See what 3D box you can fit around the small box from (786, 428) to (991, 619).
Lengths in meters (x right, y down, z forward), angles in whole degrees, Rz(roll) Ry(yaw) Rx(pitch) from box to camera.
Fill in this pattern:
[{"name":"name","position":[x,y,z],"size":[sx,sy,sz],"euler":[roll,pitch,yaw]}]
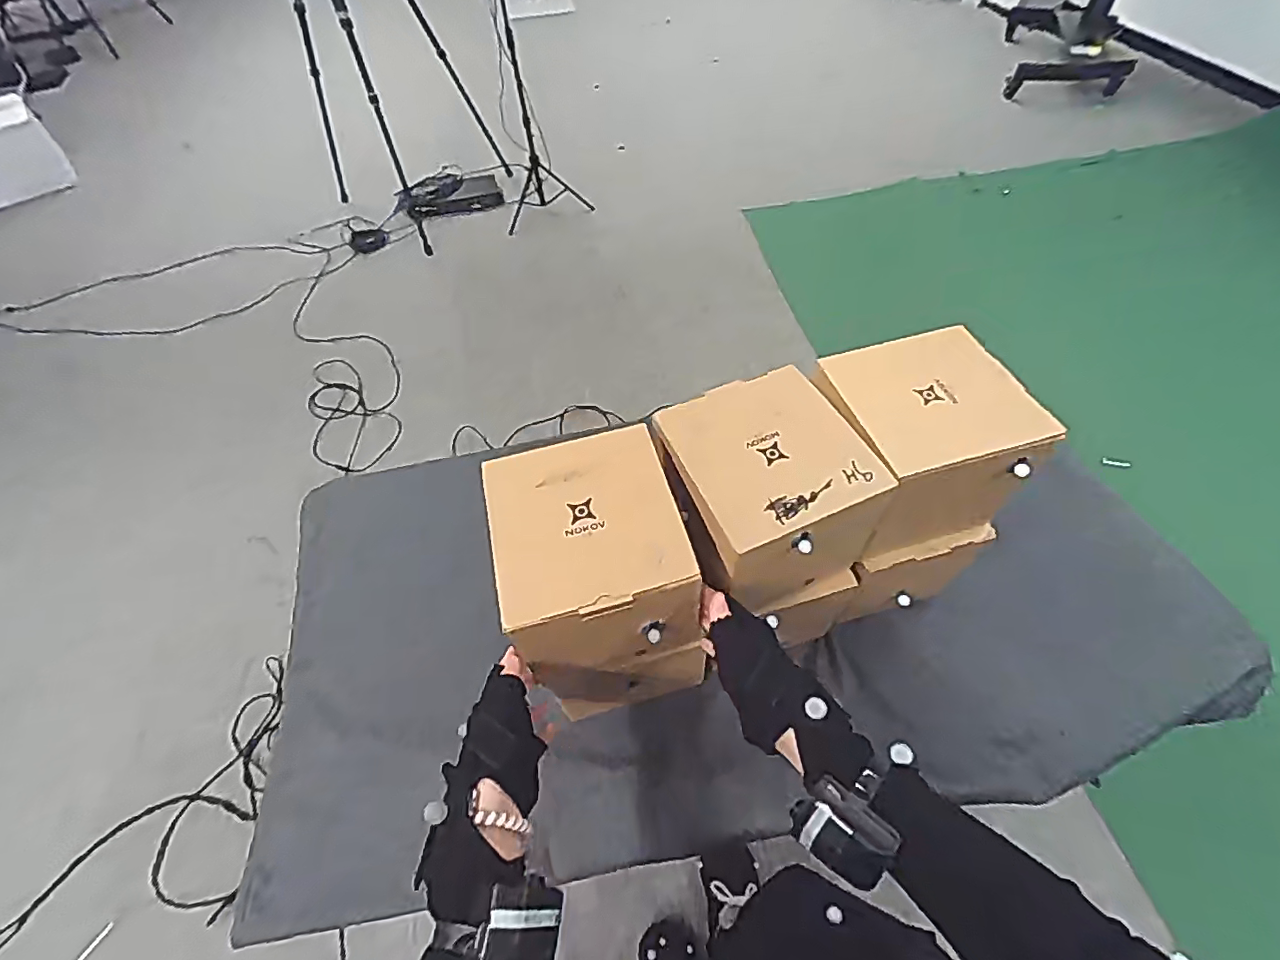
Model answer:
[{"name":"small box","position":[0.313,0.062,0.730],"size":[0.168,0.176,0.179],"euler":[-14,56,-5]}]

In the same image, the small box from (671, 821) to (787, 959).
[{"name":"small box","position":[0.183,0.846,1.080],"size":[0.168,0.176,0.179],"euler":[8,26,41]}]
